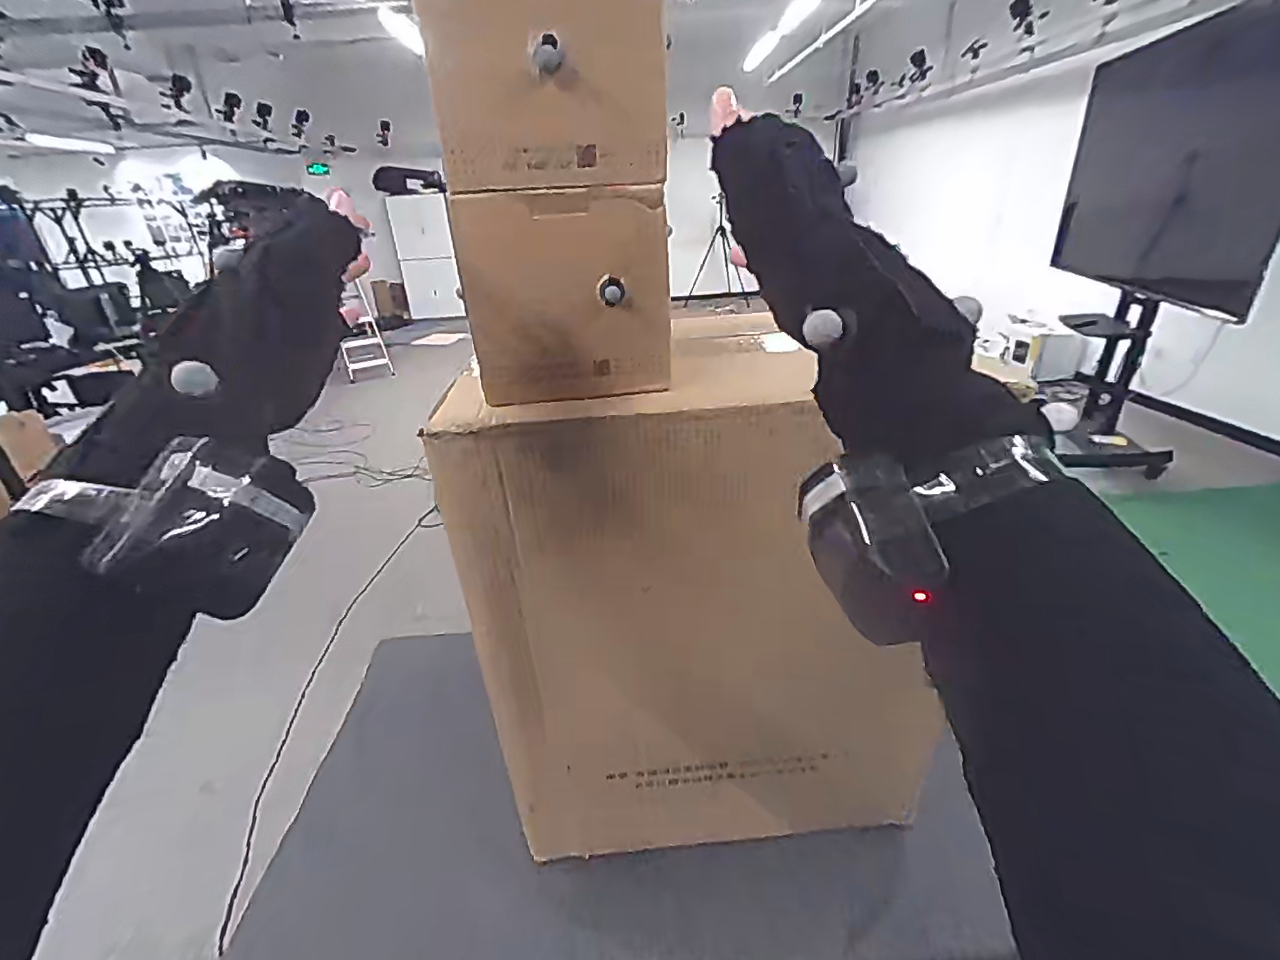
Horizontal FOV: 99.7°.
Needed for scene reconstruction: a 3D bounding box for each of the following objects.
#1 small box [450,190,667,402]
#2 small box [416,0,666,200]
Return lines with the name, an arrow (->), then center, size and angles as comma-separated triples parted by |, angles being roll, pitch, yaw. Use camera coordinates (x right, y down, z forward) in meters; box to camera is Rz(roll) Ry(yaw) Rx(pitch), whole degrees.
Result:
small box -> -0.066, -0.177, 0.516 | 0.168, 0.176, 0.179 | -4, 27, -4
small box -> -0.070, -0.322, 0.441 | 0.168, 0.176, 0.179 | -4, 30, -4
